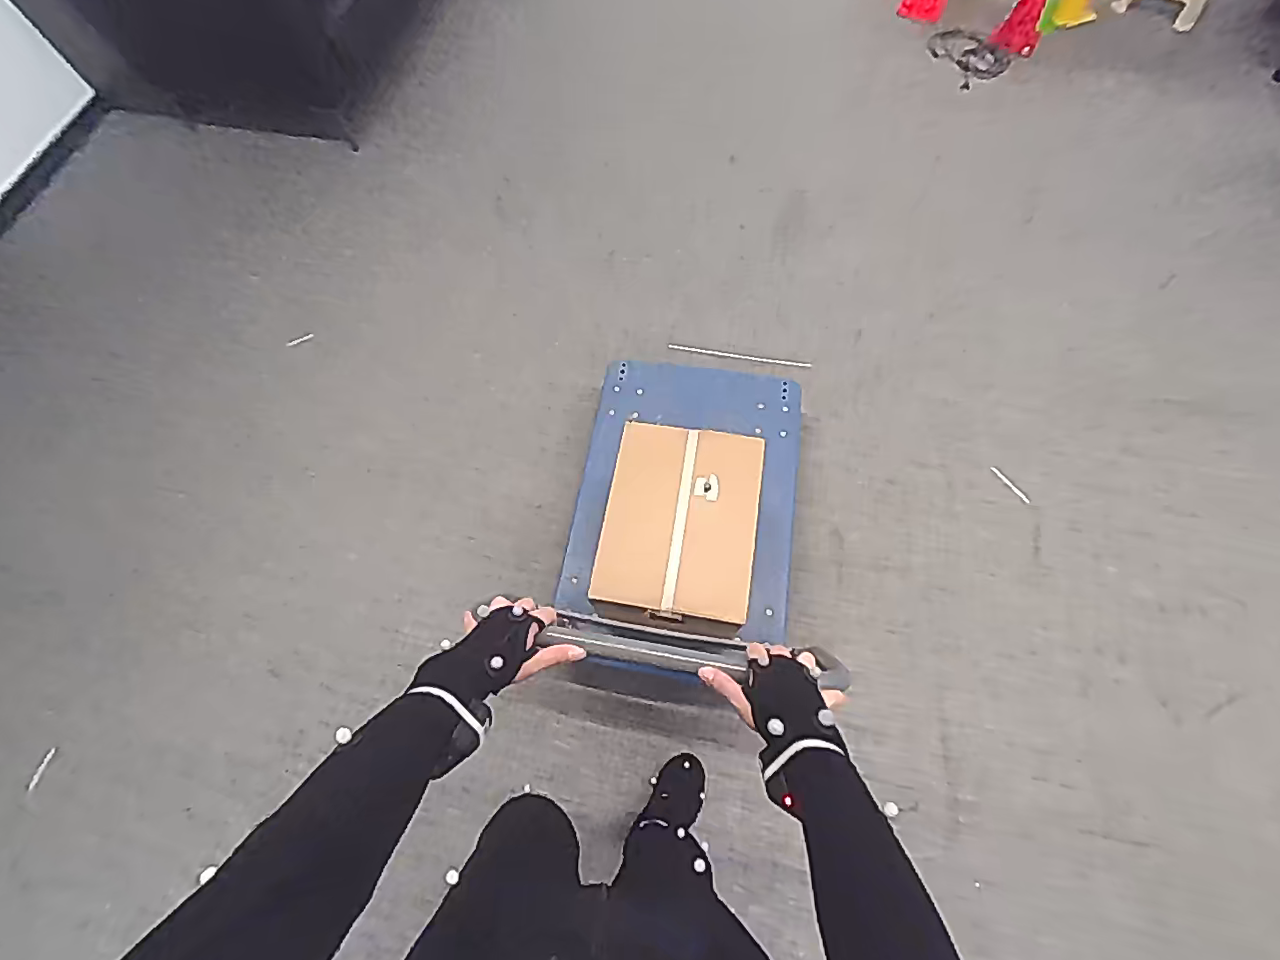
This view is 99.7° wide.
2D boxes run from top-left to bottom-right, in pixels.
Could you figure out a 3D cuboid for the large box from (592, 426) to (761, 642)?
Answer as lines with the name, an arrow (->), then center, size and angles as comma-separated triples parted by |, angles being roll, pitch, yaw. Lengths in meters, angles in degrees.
large box -> 0.093, 0.135, 1.254 | 0.320, 0.320, 0.408 | 8, 66, 6
